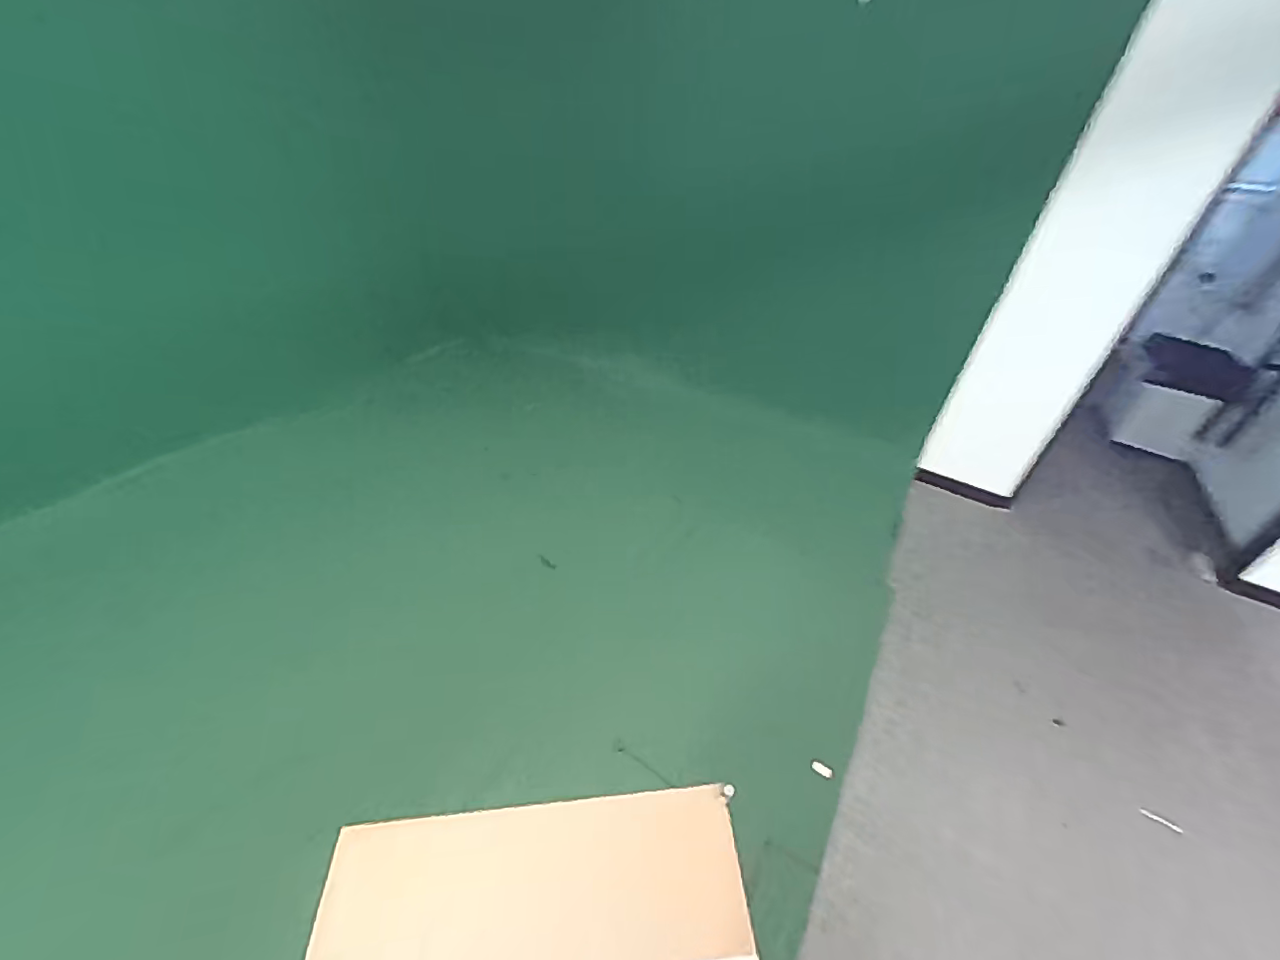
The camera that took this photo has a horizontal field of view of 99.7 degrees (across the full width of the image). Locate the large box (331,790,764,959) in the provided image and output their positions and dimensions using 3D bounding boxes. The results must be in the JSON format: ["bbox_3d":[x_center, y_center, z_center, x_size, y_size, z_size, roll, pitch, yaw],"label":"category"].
[{"bbox_3d":[-0.085,0.573,0.570,0.408,0.320,0.320,-3,42,-5],"label":"large box"}]
